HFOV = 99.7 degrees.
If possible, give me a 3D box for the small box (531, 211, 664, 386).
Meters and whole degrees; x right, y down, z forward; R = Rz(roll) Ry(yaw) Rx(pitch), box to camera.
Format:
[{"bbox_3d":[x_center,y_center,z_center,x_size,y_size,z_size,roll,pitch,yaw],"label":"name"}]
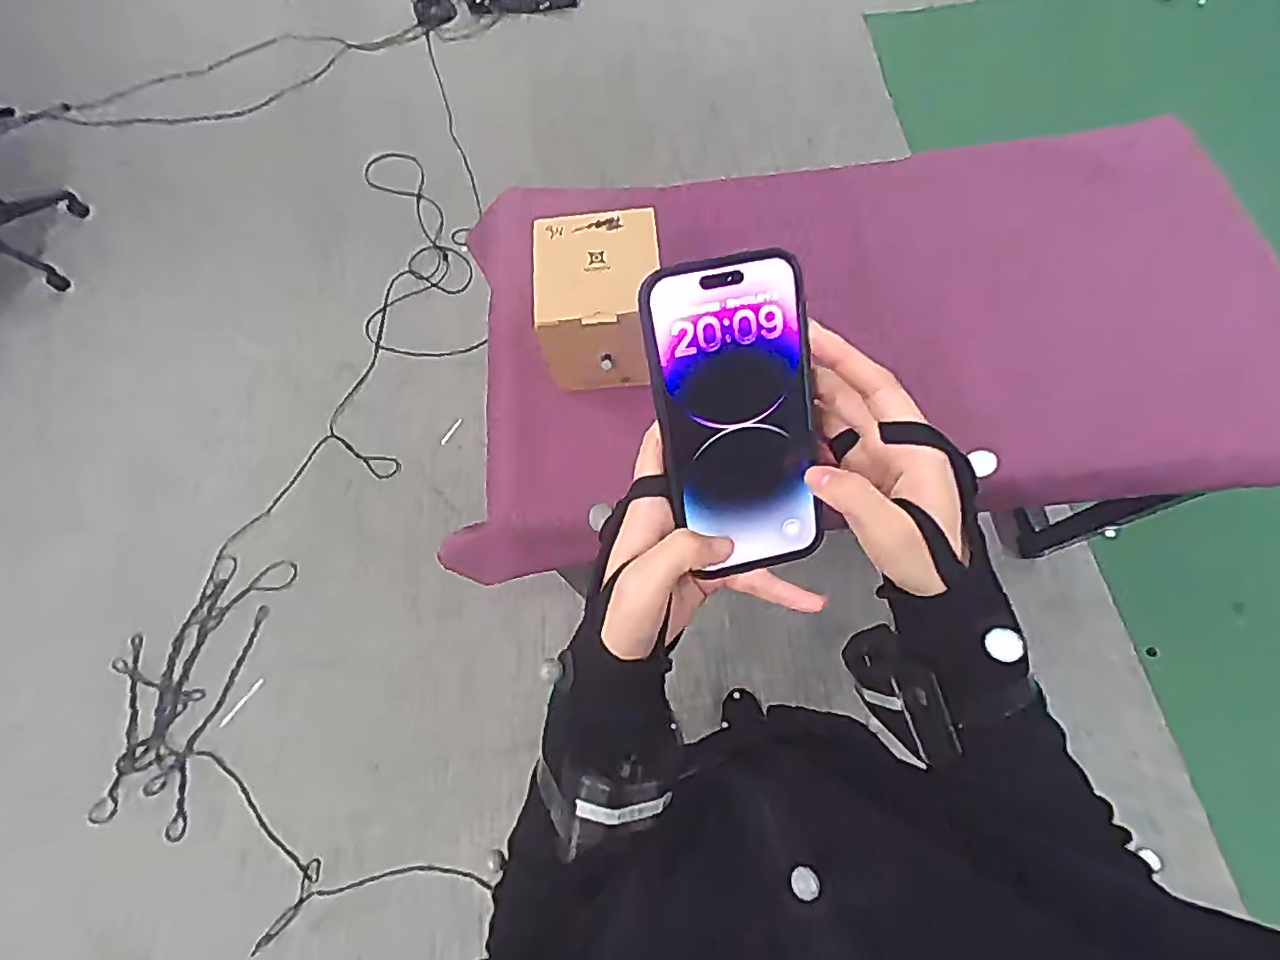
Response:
[{"bbox_3d":[-0.055,-0.247,0.778,0.168,0.176,0.179,-5,69,2],"label":"small box"}]
